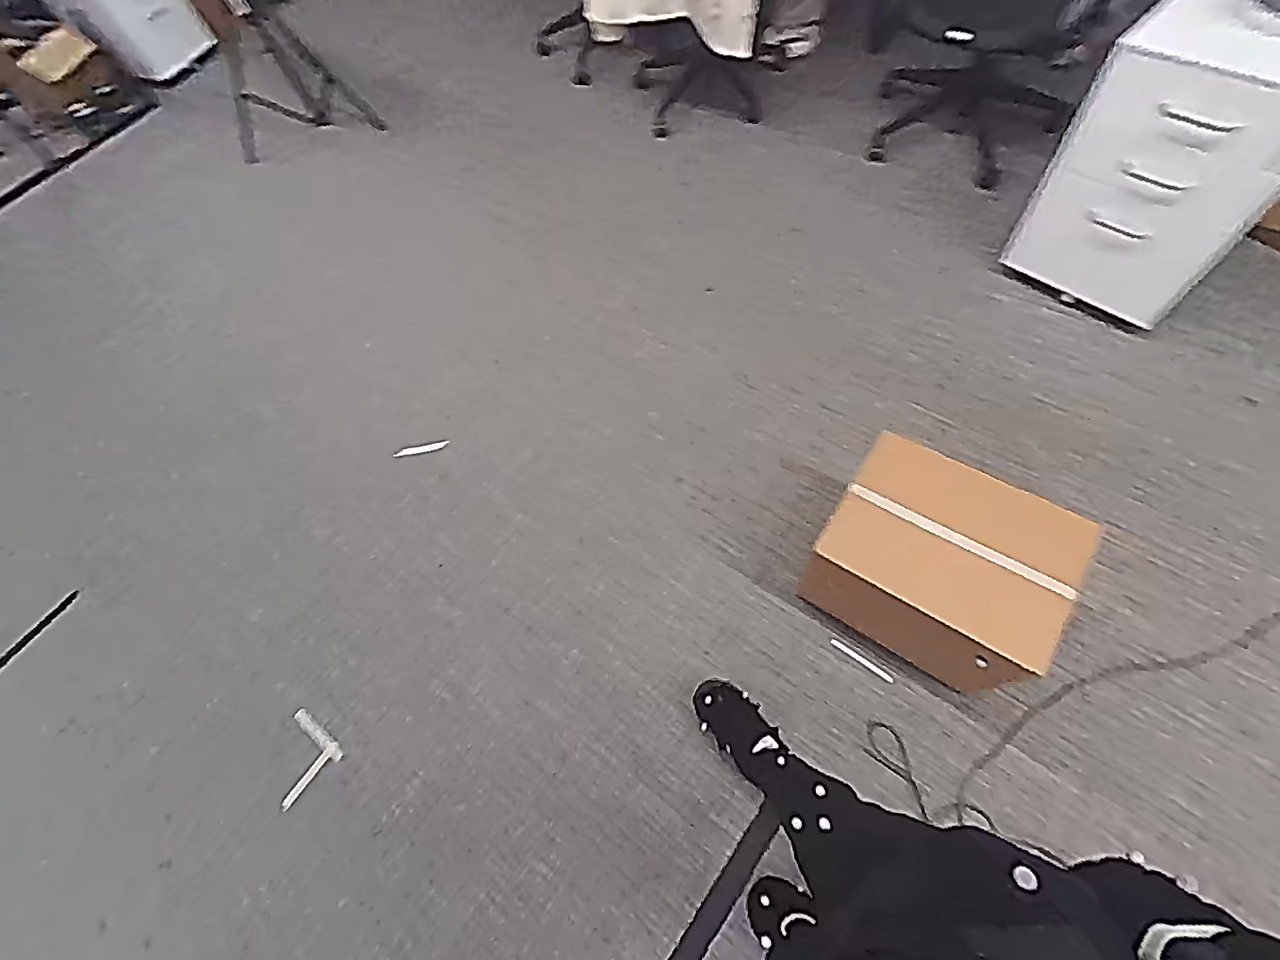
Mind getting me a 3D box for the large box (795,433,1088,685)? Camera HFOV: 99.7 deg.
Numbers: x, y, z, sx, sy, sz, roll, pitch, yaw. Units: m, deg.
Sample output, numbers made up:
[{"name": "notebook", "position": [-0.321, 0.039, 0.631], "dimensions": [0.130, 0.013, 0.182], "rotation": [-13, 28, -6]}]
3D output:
[{"name": "large box", "position": [0.589, 0.172, 1.131], "dimensions": [0.408, 0.320, 0.320], "rotation": [29, 71, 22]}]
